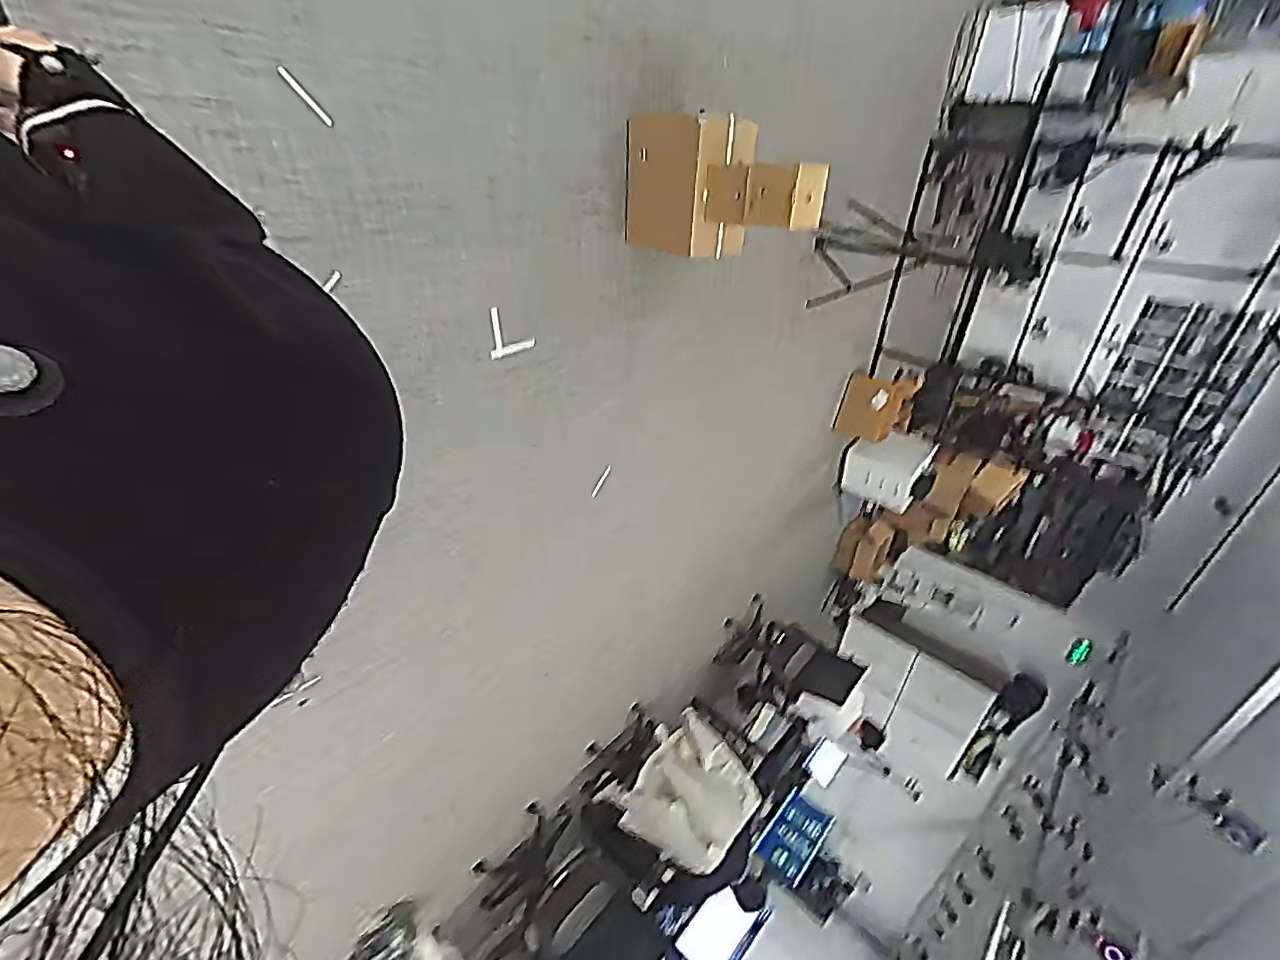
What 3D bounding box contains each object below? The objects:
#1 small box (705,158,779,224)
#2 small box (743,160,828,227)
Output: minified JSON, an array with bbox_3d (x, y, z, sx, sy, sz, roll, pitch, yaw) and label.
[{"bbox_3d":[0.325,-0.931,1.735,0.168,0.176,0.179,-28,133,-36],"label":"small box"},{"bbox_3d":[0.436,-0.870,1.633,0.179,0.176,0.168,-27,132,-37],"label":"small box"}]
